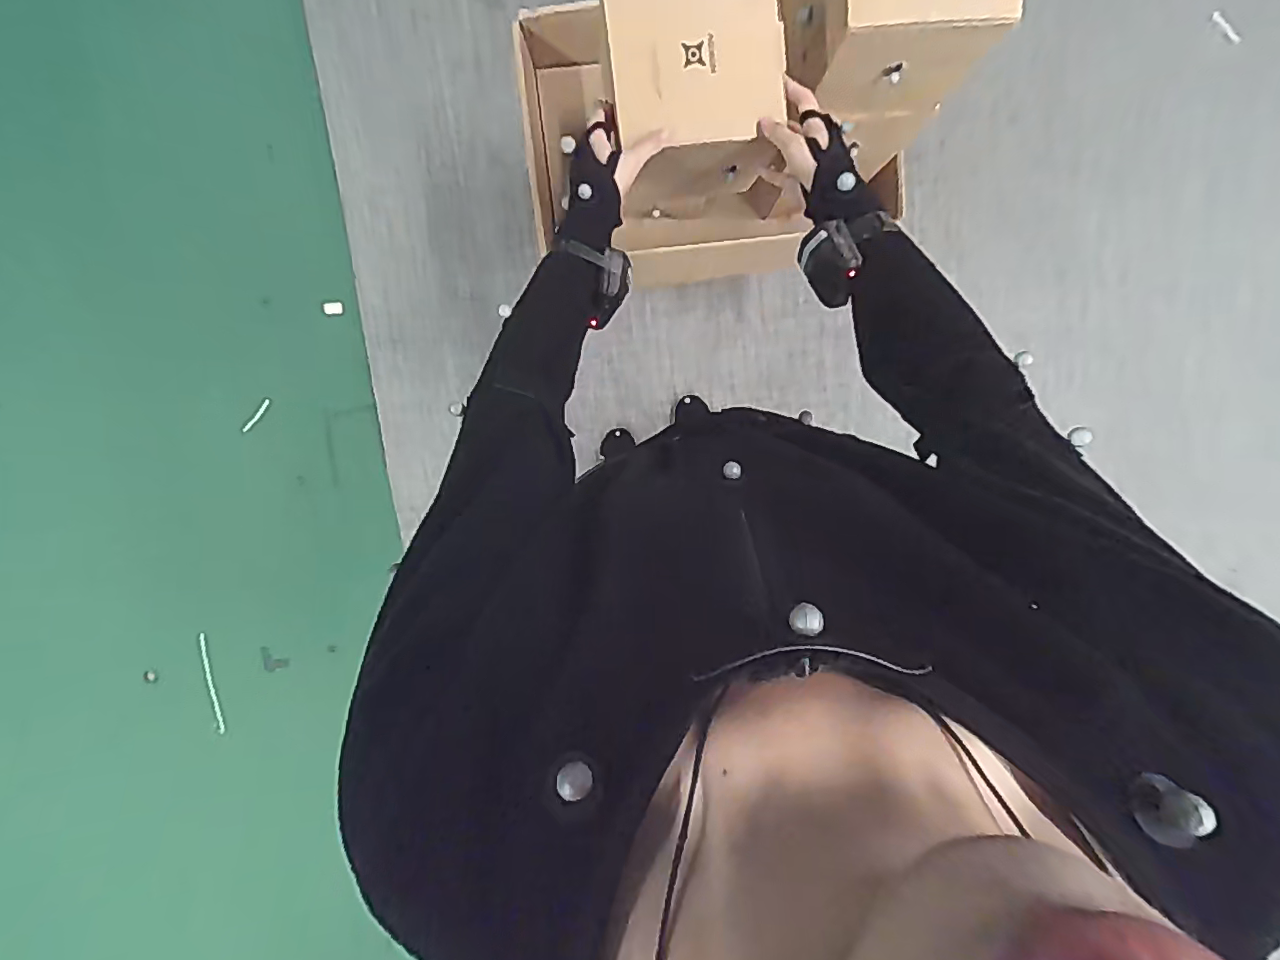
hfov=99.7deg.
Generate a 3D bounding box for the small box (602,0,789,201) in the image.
[{"bbox_3d":[0.052,-0.432,0.606,0.179,0.176,0.168,-7,100,-2],"label":"small box"}]

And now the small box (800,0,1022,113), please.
[{"bbox_3d":[0.289,-0.543,0.604,0.179,0.176,0.168,-2,97,2],"label":"small box"}]
